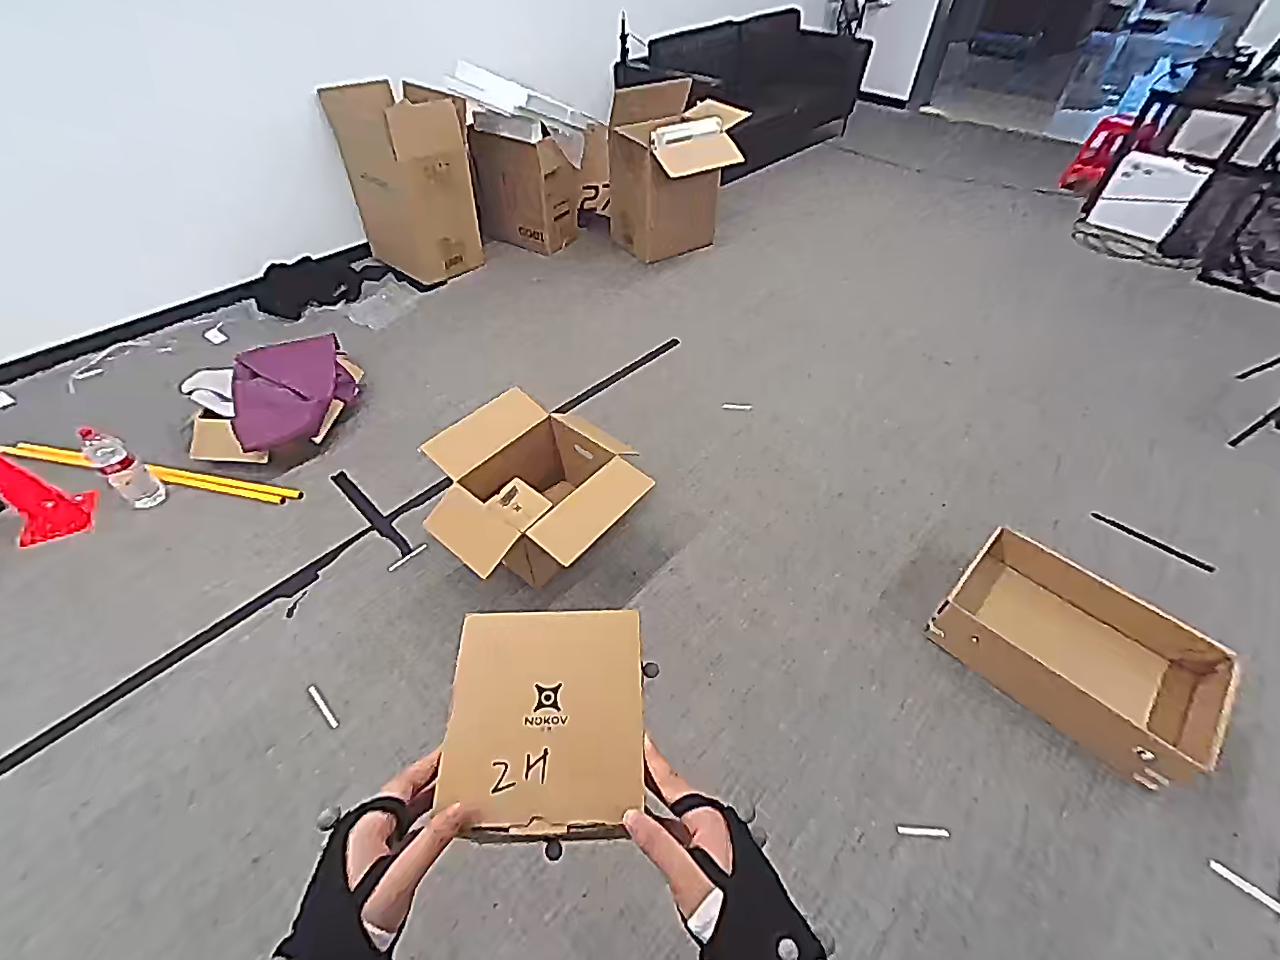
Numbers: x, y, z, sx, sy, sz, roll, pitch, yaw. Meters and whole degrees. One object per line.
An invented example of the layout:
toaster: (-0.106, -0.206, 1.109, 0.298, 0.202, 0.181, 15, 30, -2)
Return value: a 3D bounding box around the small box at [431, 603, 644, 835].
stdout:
small box: (-0.082, 0.236, 0.528, 0.168, 0.176, 0.179, -1, 55, -1)
